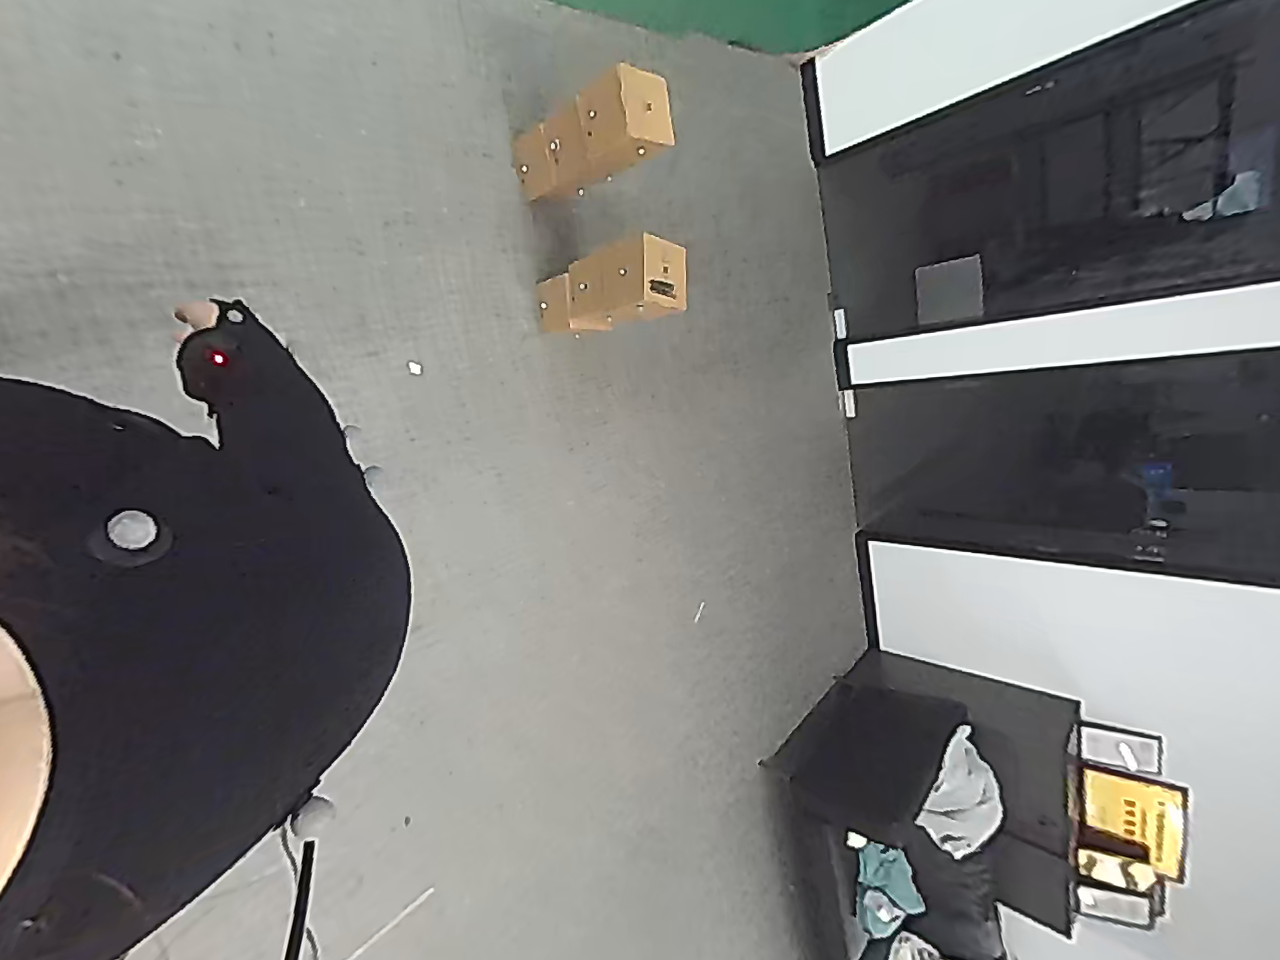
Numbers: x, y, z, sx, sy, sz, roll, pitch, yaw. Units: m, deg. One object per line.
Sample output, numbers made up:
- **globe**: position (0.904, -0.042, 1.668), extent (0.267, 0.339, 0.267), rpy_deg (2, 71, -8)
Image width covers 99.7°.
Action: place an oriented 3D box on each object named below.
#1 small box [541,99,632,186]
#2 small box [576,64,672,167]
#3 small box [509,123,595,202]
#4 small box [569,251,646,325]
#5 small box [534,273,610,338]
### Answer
- **small box**: position (-0.153, -0.963, 1.556), extent (0.179, 0.176, 0.168), rpy_deg (-29, 111, -39)
- **small box**: position (-0.042, -0.955, 1.436), extent (0.179, 0.176, 0.168), rpy_deg (-21, 107, -42)
- **small box**: position (-0.270, -0.973, 1.667), extent (0.179, 0.176, 0.168), rpy_deg (-29, 112, -39)
- **small box**: position (-0.101, -0.569, 1.628), extent (0.179, 0.176, 0.168), rpy_deg (-6, 96, -43)
- **small box**: position (-0.220, -0.555, 1.741), extent (0.179, 0.176, 0.168), rpy_deg (-11, 100, -43)
